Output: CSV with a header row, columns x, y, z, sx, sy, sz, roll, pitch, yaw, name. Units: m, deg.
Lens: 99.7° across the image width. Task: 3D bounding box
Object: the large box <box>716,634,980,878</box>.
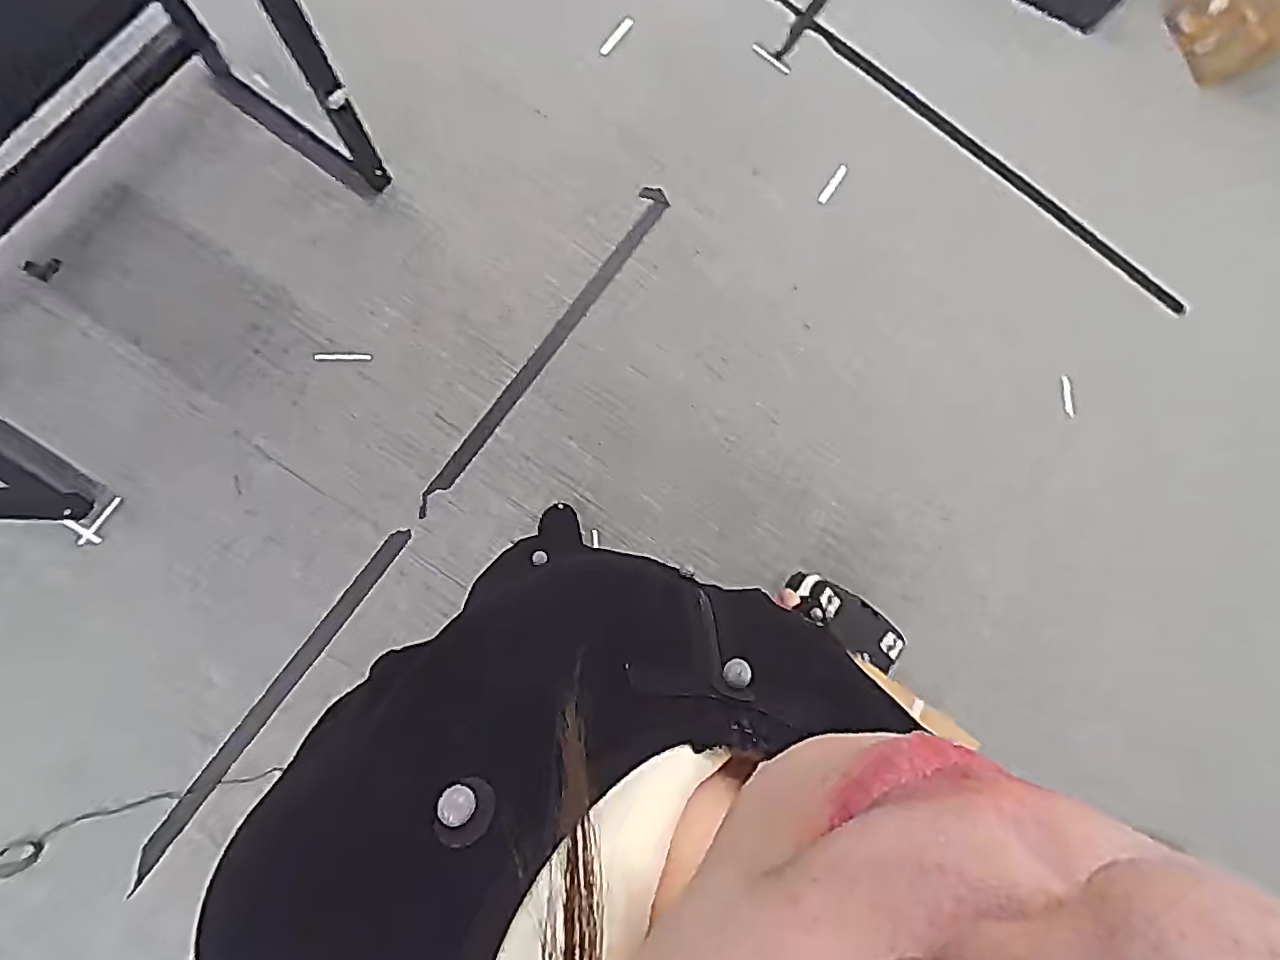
x,y,z,sx,sy,sz,roll,pitch,yaw,name
0.424,0.609,1.177,0.320,0.320,0.408,35,80,-3,large box
